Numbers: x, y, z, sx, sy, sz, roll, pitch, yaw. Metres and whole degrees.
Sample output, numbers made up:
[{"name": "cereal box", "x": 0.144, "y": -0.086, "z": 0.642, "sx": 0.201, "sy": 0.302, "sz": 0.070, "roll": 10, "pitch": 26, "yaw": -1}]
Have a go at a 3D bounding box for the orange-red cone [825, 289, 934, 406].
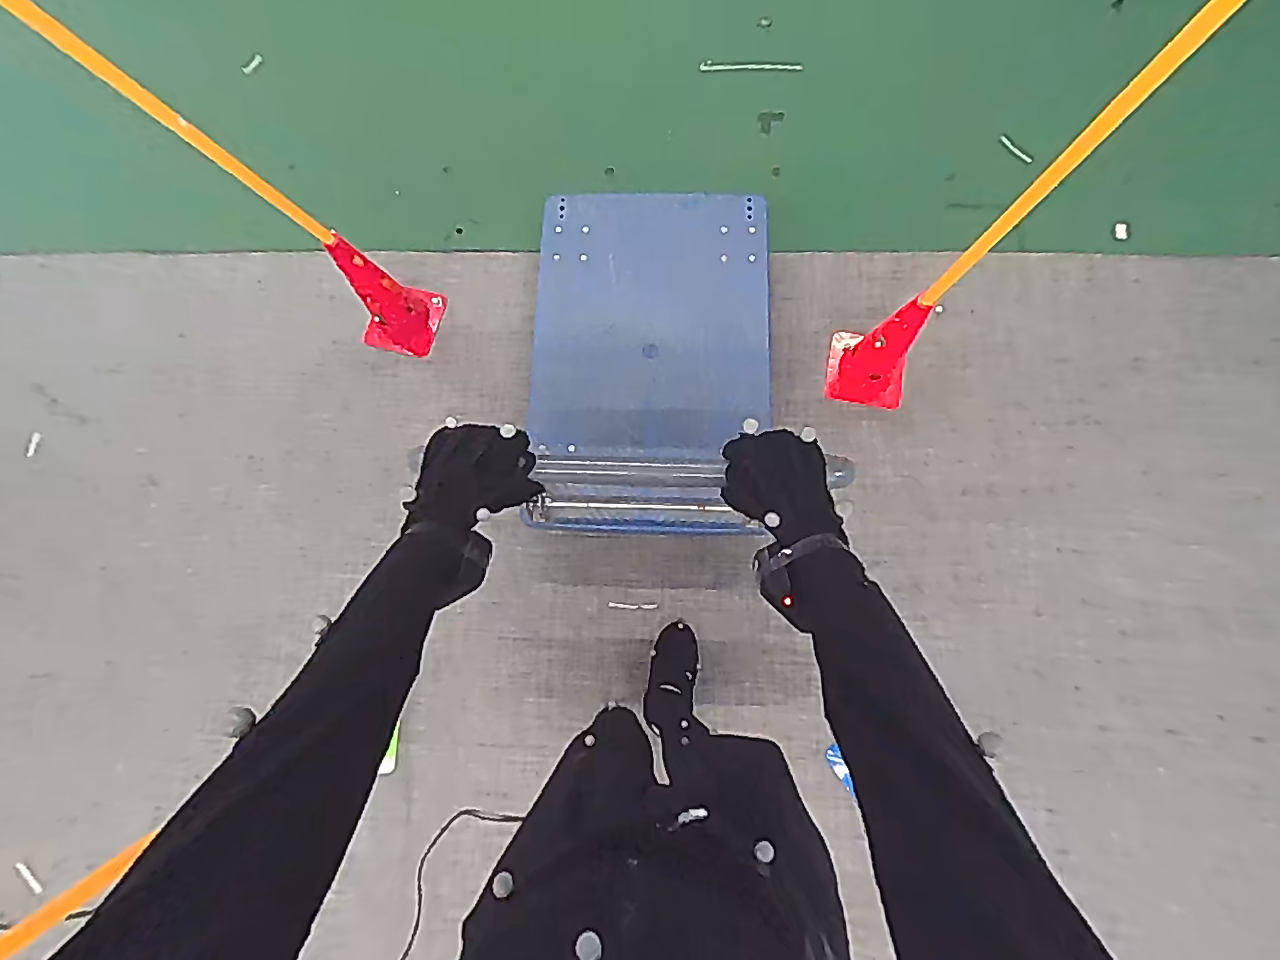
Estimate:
[{"name": "orange-red cone", "x": 0.599, "y": -0.338, "z": 1.283, "sx": 0.198, "sy": 0.360, "sz": 0.199, "roll": 12, "pitch": 79, "yaw": 6}]
